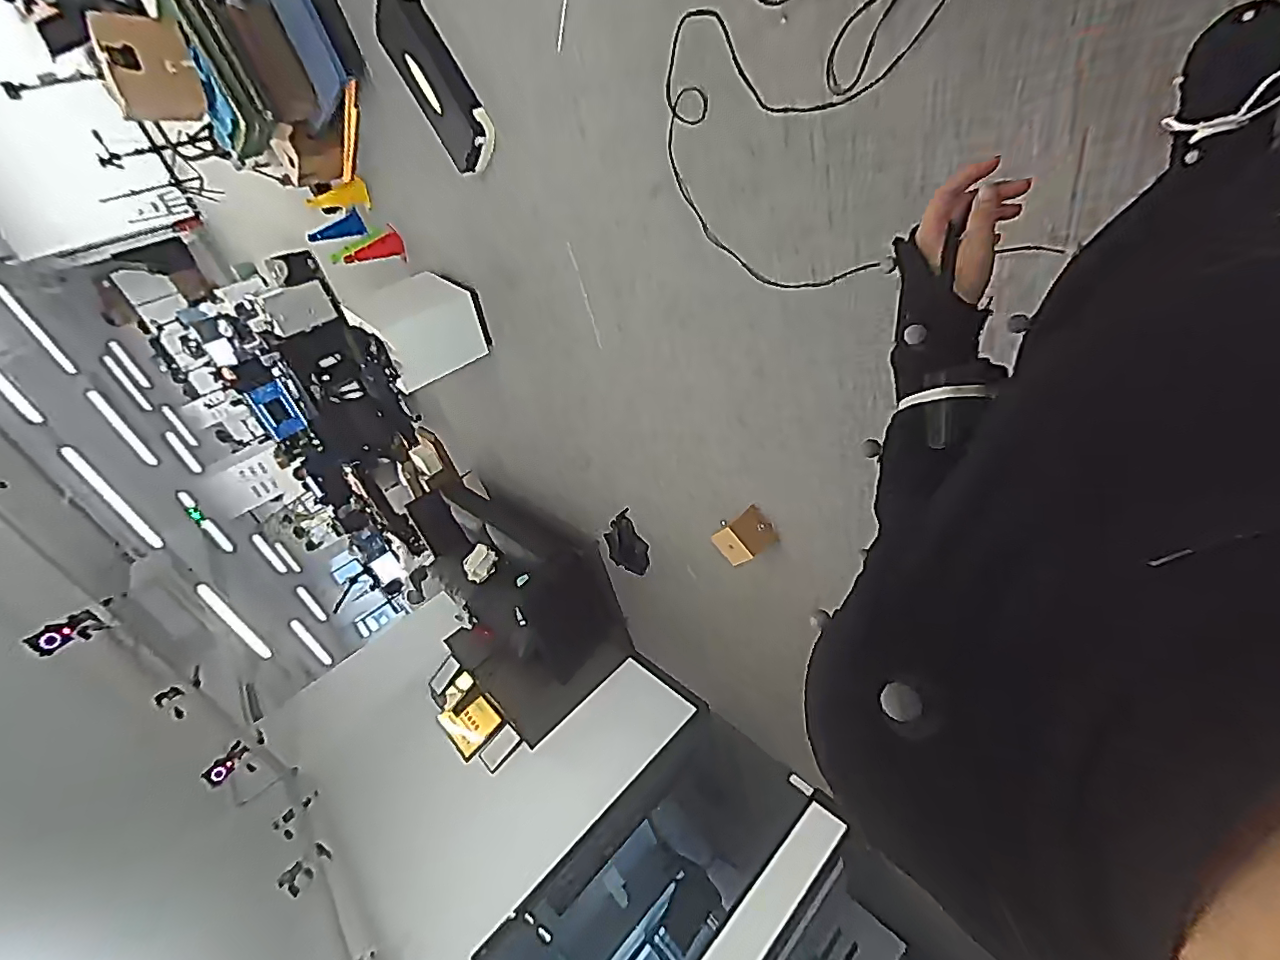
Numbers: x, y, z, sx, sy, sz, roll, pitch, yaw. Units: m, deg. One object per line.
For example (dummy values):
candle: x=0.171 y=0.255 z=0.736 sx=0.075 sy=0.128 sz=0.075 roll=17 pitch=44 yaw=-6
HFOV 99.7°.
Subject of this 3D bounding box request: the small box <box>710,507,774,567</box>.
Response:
small box: x=0.436 y=0.242 z=2.299 sx=0.168 sy=0.176 sz=0.179 roll=50 pitch=152 yaw=4
